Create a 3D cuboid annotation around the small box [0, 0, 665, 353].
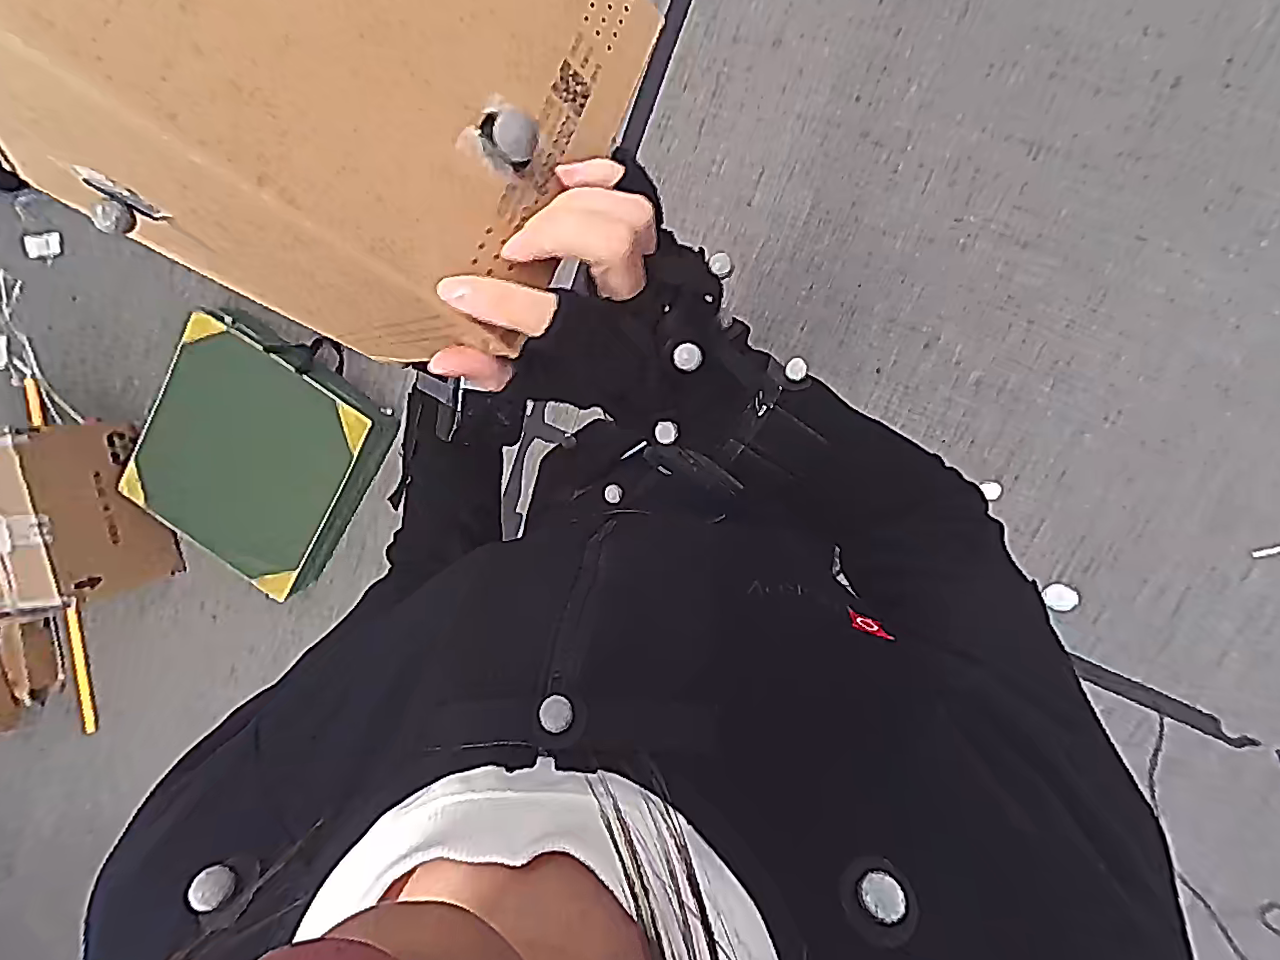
[{"bbox_3d":[-0.122,-0.171,0.250,0.179,0.176,0.168,12,79,46],"label":"small box"}]
